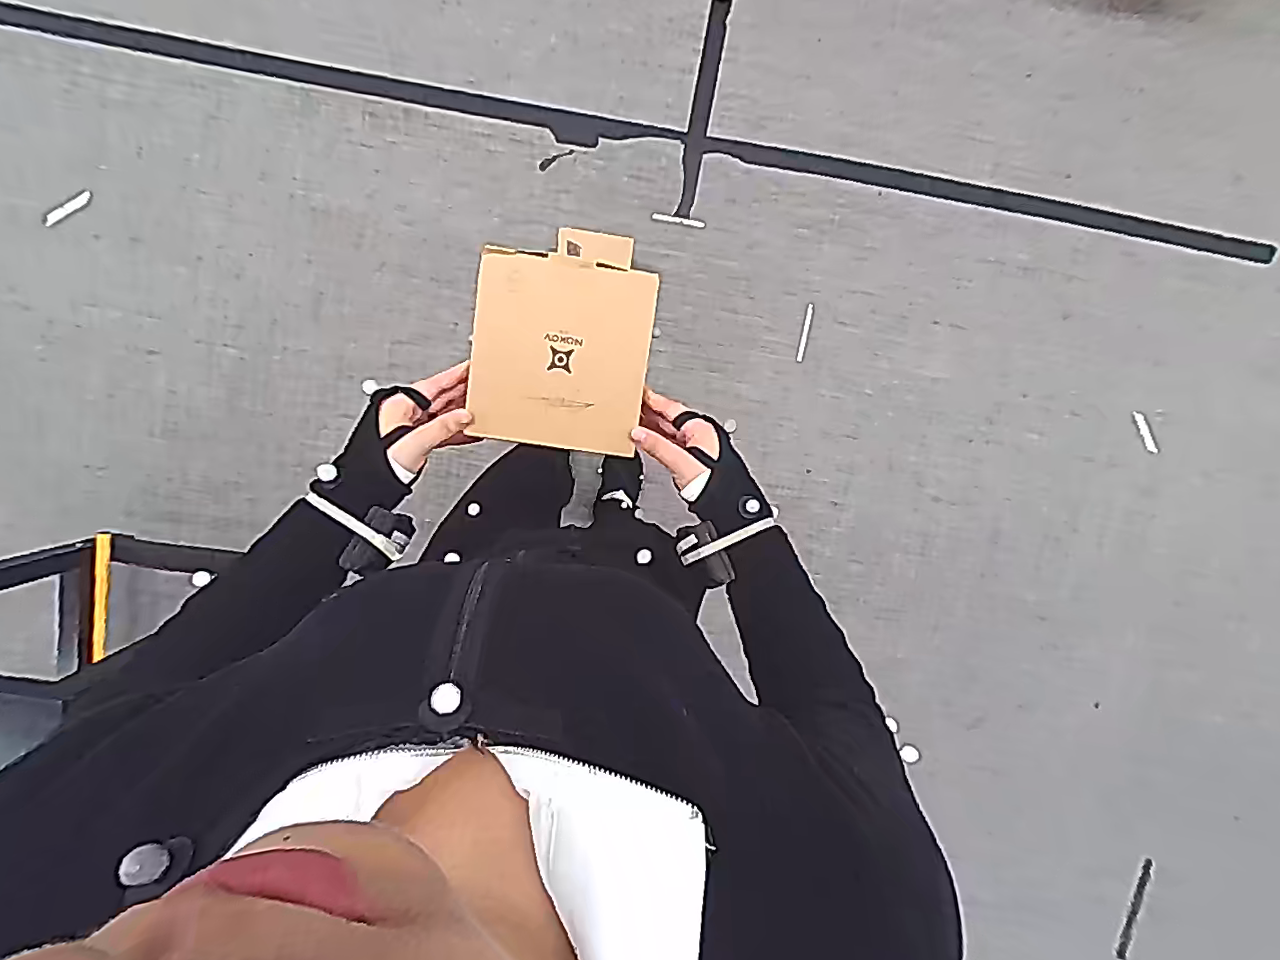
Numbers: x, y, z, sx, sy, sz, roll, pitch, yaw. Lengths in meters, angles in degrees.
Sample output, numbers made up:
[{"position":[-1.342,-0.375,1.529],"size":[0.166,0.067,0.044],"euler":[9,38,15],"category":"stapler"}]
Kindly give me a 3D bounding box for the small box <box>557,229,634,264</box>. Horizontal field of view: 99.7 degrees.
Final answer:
[{"position":[-0.112,-0.495,1.329],"size":[0.179,0.176,0.168],"euler":[8,98,-3],"category":"small box"}]

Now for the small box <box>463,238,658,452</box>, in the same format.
[{"position":[-0.082,-0.136,0.587],"size":[0.168,0.176,0.179],"euler":[8,99,-5],"category":"small box"}]
